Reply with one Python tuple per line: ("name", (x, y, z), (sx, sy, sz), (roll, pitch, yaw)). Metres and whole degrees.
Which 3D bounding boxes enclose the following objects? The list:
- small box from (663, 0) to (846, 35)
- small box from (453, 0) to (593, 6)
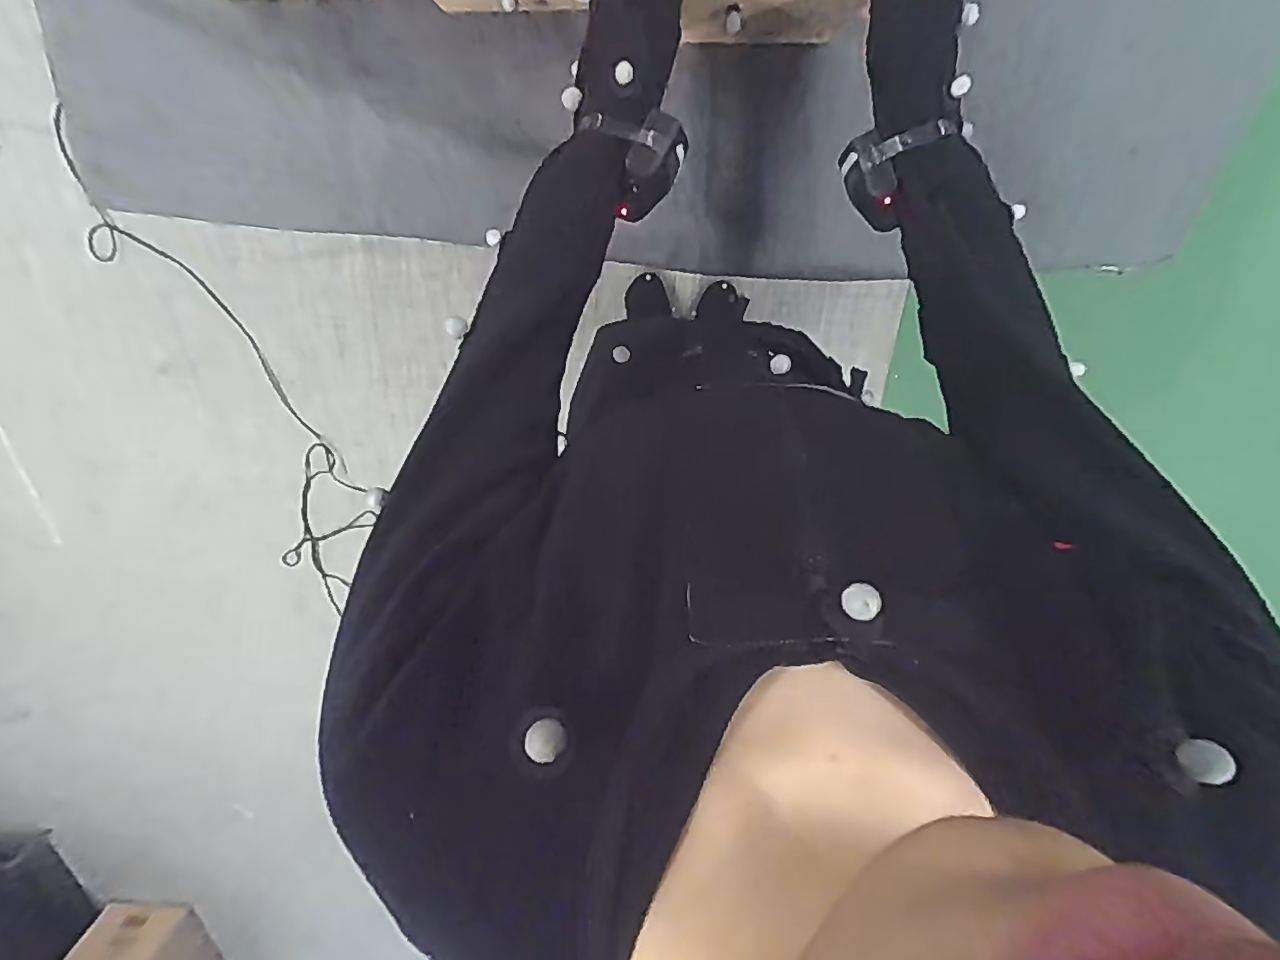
("small box", (0.102, -0.487, 0.434), (0.168, 0.176, 0.179), (2, 115, 2))
("small box", (-0.120, -0.518, 0.428), (0.168, 0.176, 0.179), (1, 115, 2))
